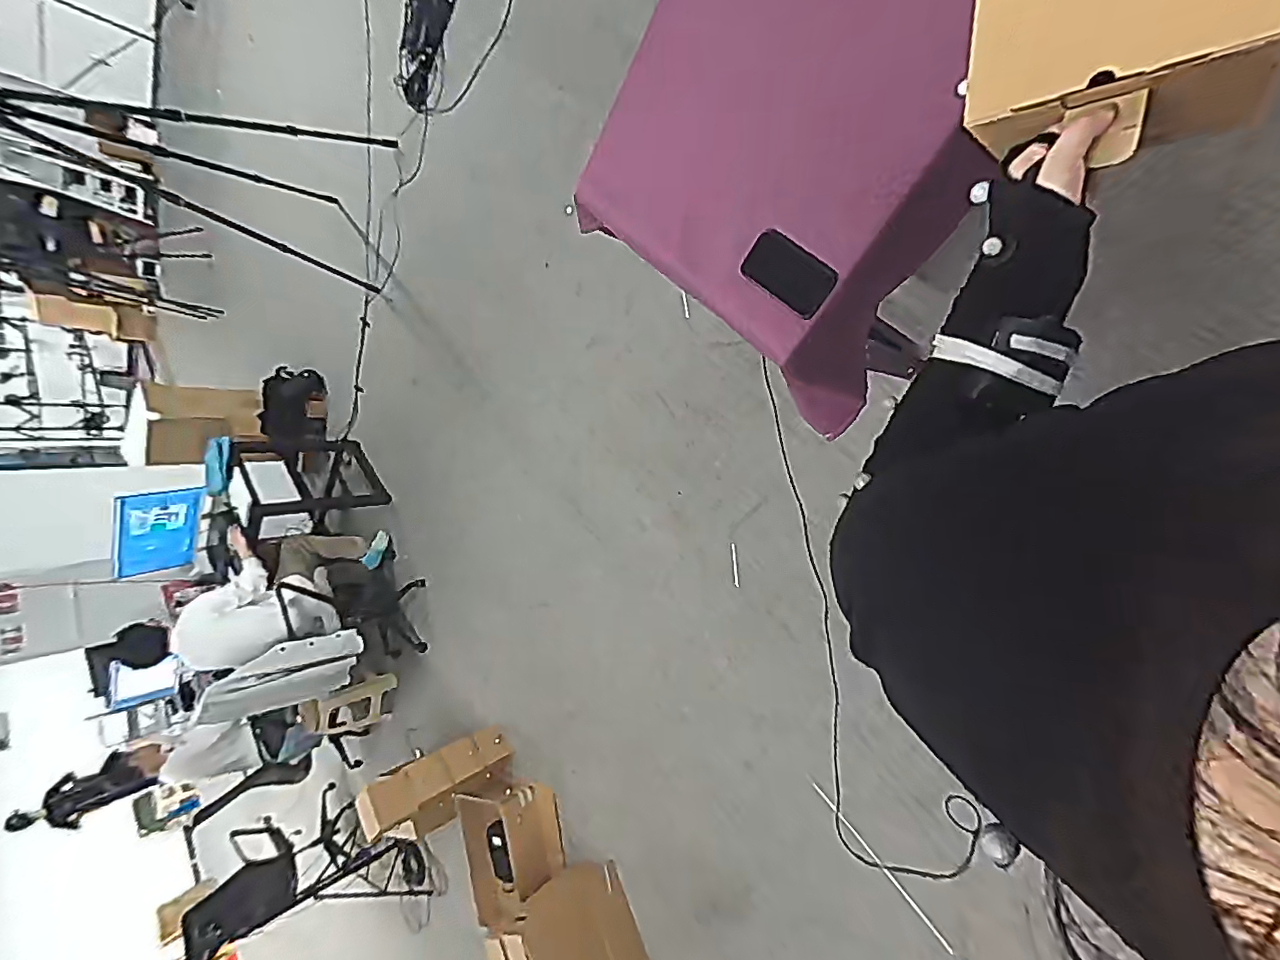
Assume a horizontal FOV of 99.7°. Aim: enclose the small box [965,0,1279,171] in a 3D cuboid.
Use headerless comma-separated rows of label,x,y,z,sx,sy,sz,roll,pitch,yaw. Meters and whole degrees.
small box,0.370,-0.365,0.410,0.168,0.176,0.179,11,108,44
